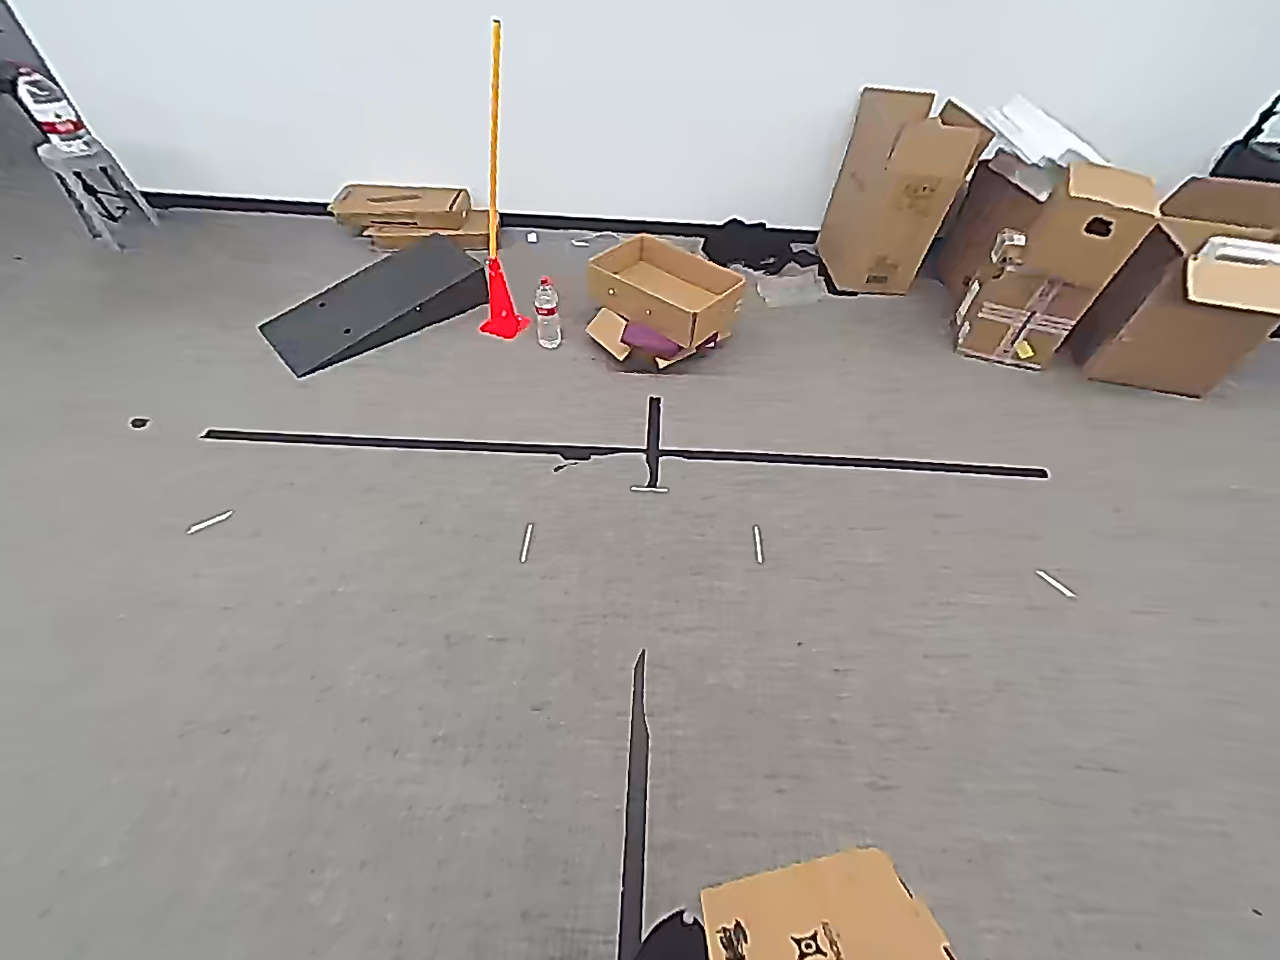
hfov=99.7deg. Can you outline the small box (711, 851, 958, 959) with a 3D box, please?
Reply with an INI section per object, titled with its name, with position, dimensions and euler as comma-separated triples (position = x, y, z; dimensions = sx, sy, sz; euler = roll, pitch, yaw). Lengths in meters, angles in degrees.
[small box]
position = 0.166, 0.450, 0.434
dimensions = 0.179, 0.168, 0.176
euler = -12, 90, 0
